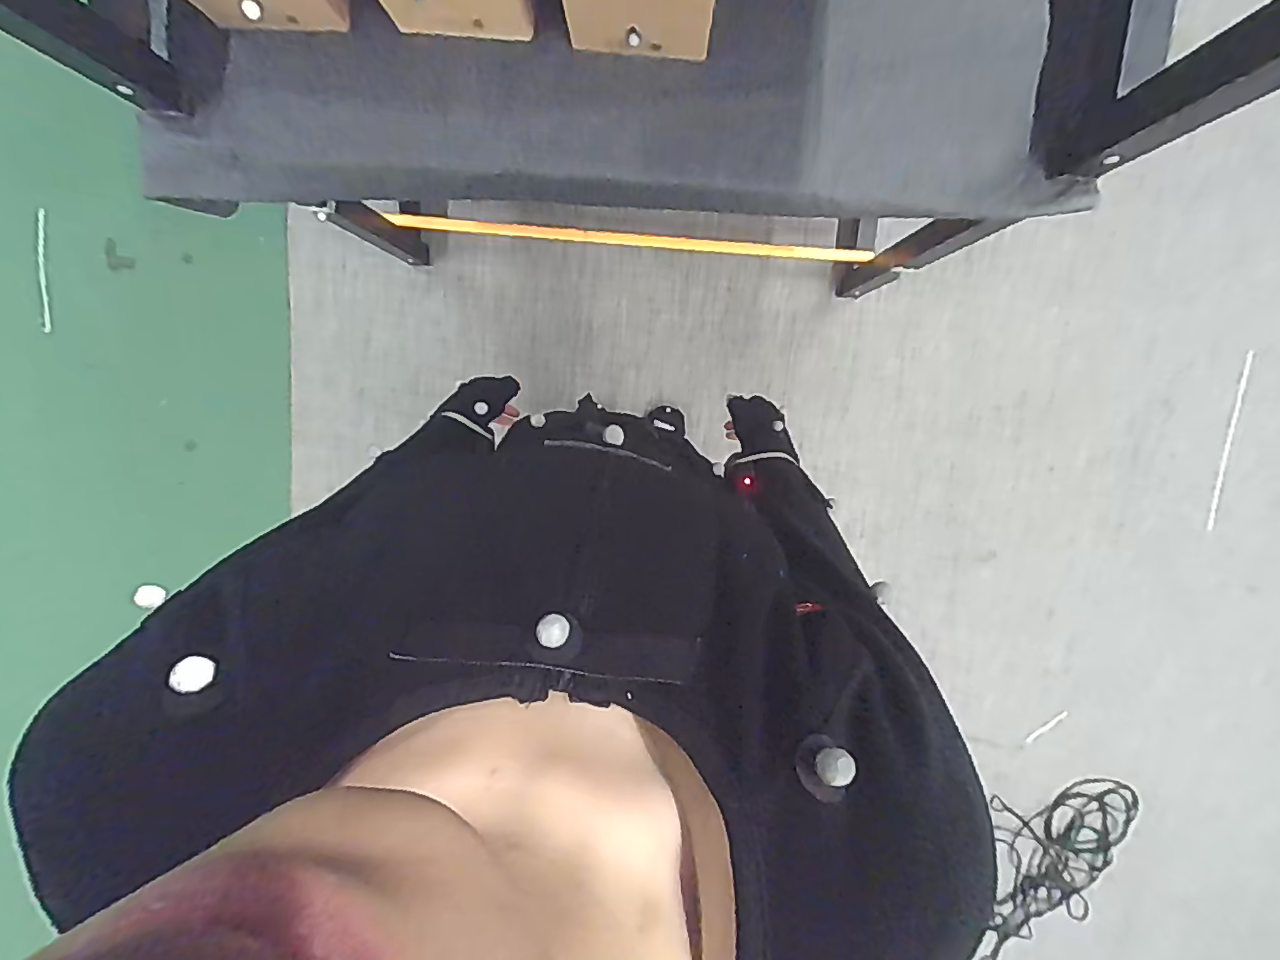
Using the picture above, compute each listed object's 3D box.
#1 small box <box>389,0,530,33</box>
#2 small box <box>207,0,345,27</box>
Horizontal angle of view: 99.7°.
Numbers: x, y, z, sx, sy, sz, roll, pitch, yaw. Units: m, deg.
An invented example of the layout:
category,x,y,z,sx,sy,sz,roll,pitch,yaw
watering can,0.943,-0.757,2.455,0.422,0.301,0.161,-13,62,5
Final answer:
category,x,y,z,sx,sy,sz,roll,pitch,yaw
small box,-0.210,-0.620,0.569,0.168,0.176,0.179,5,98,0
small box,-0.436,-0.632,0.568,0.168,0.176,0.179,2,99,1
